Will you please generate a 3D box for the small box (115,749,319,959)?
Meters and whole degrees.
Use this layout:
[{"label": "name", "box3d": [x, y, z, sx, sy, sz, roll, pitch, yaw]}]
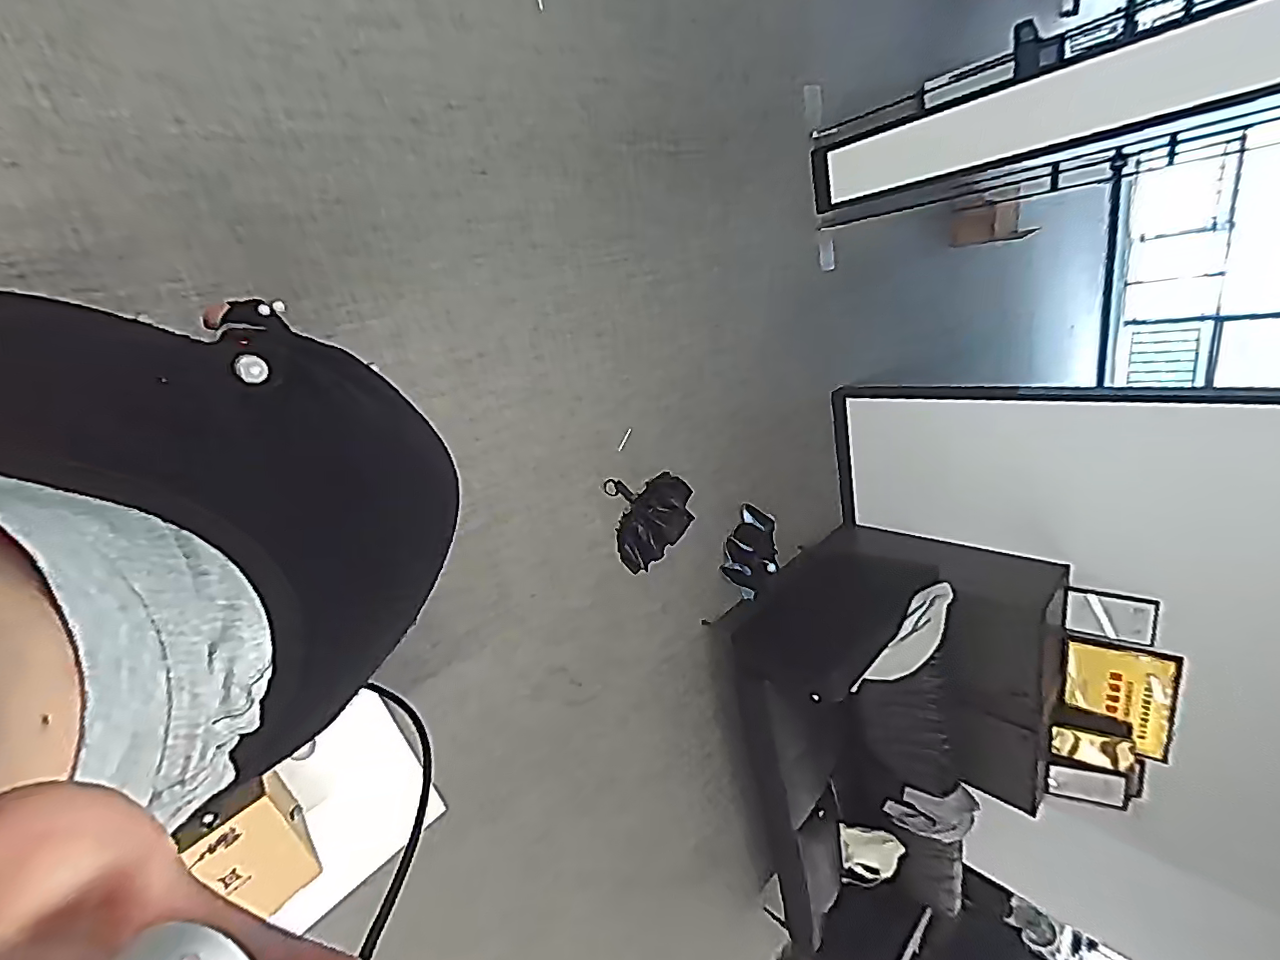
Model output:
[{"label": "small box", "box3d": [-0.603, 0.535, 0.781, 0.168, 0.176, 0.179, -32, 119, -35]}]
